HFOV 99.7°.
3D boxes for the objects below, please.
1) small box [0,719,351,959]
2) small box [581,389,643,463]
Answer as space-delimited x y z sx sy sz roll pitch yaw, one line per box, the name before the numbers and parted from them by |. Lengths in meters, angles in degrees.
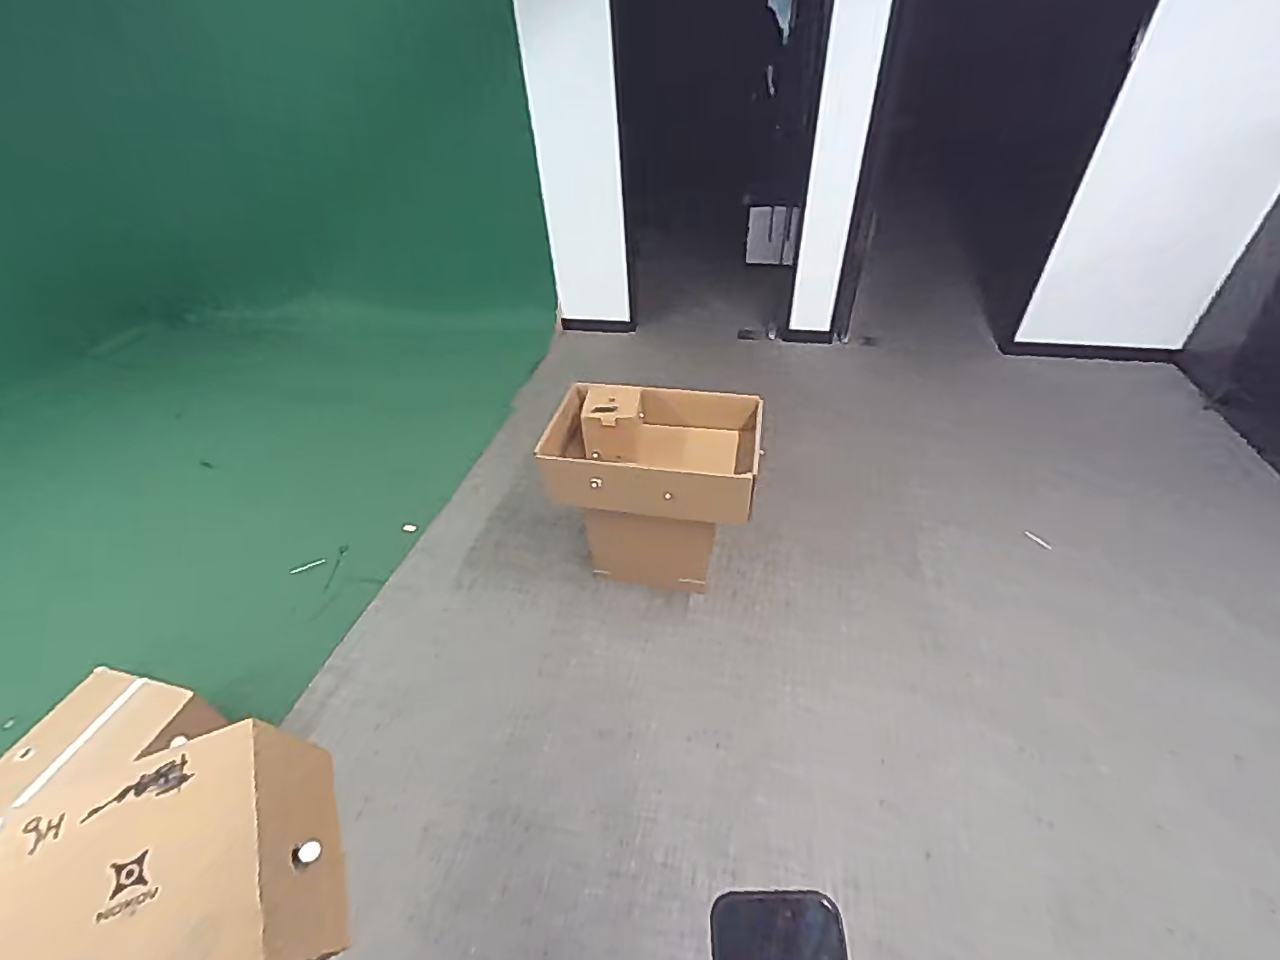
small box | -0.359 0.329 0.446 0.168 0.176 0.179 -17 58 -17
small box | -0.081 -0.166 1.685 0.168 0.176 0.179 1 40 6
